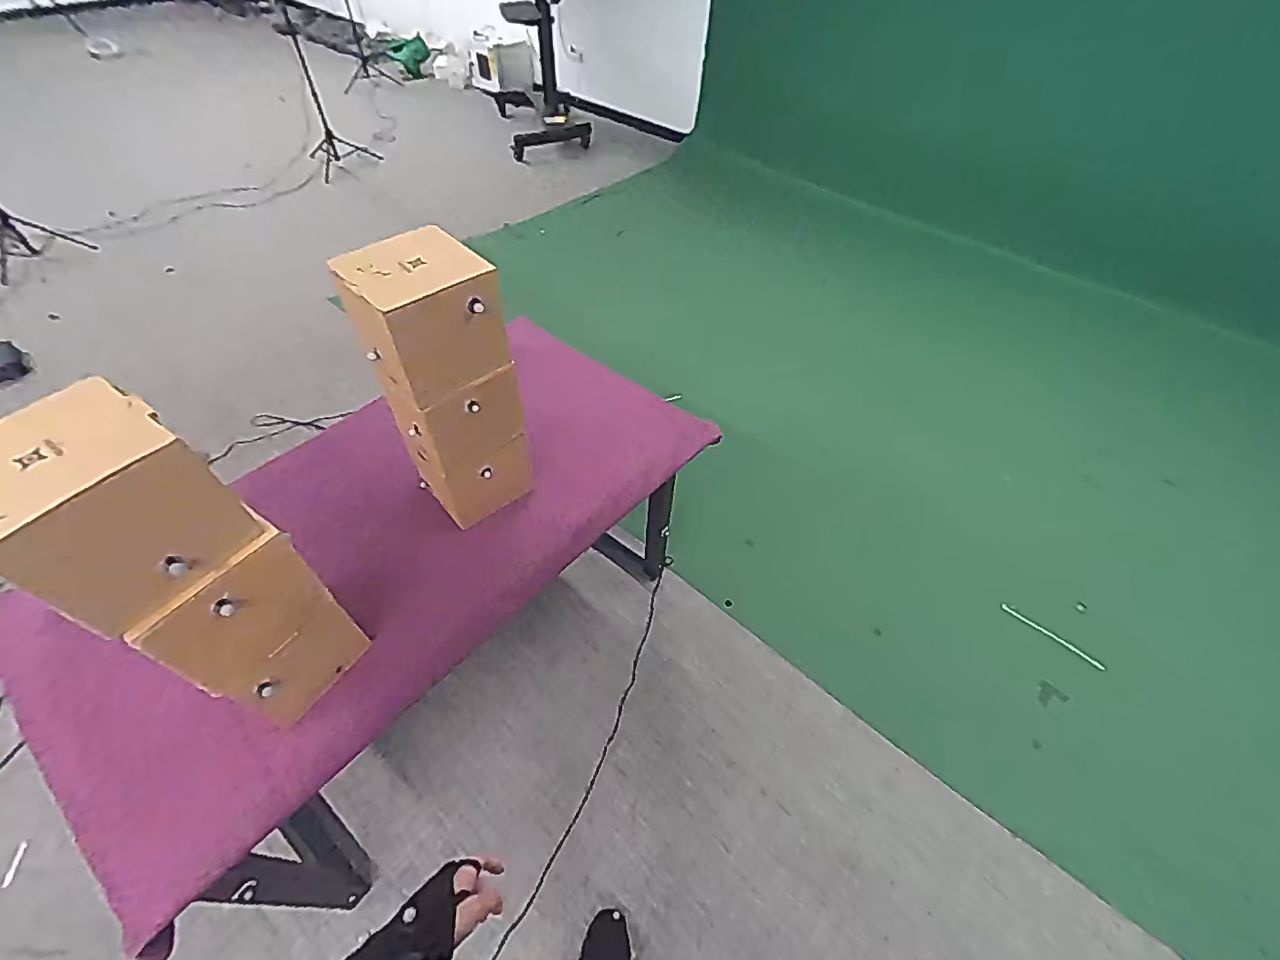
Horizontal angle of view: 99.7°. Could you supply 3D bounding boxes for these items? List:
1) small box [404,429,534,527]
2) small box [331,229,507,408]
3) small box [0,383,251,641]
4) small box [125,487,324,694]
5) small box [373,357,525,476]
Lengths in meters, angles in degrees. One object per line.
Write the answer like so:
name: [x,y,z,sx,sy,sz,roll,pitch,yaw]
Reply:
small box: [-0.329,-0.038,1.072,0.179,0.176,0.168,-34,60,-27]
small box: [-0.319,-0.244,0.817,0.179,0.176,0.168,-36,61,-27]
small box: [-0.565,0.034,0.579,0.168,0.176,0.179,28,55,21]
small box: [-0.551,0.140,0.704,0.168,0.176,0.179,28,55,20]
small box: [-0.322,-0.138,0.944,0.179,0.176,0.168,-35,61,-27]
